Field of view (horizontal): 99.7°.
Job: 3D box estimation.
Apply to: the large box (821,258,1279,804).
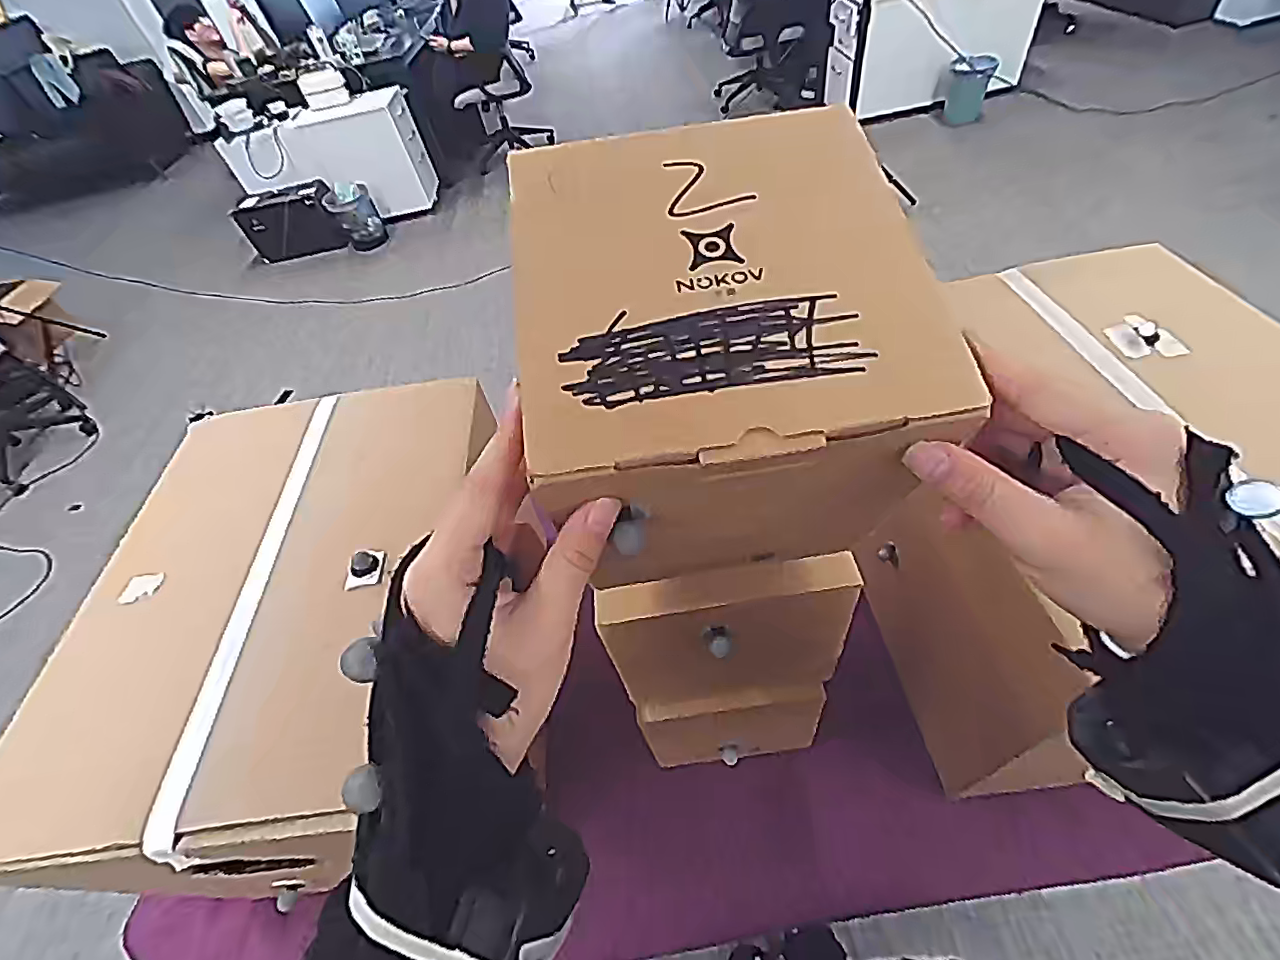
[{"bbox_3d":[0.405,0.045,0.538,0.320,0.320,0.408,-10,48,3],"label":"large box"}]
